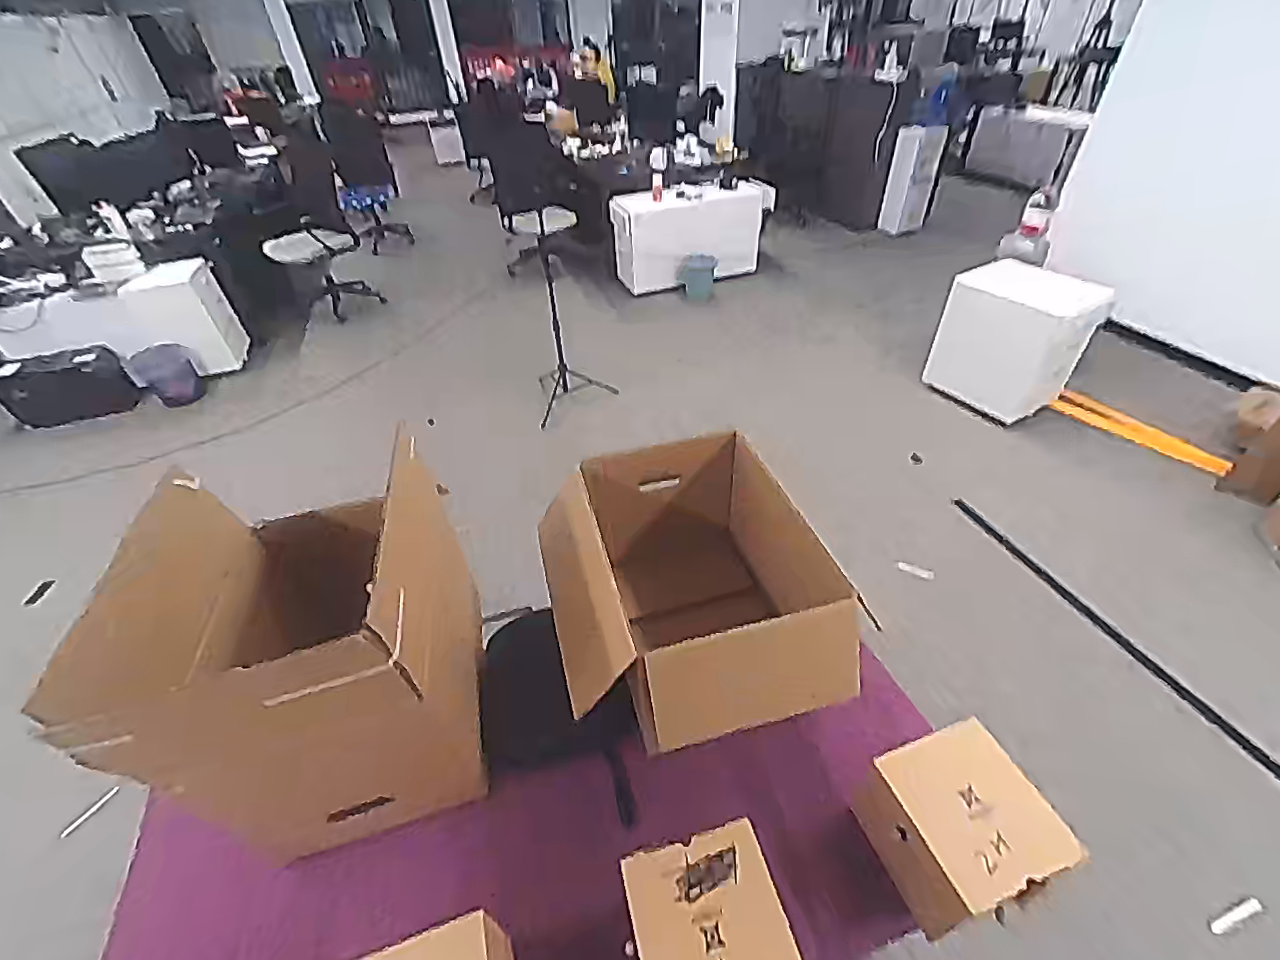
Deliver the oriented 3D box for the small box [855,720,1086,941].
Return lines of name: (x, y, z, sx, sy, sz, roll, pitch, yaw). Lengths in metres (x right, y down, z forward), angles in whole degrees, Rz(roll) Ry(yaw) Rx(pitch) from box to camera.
small box: (0.412, 0.460, 0.714, 0.168, 0.176, 0.179, -16, 42, -11)
